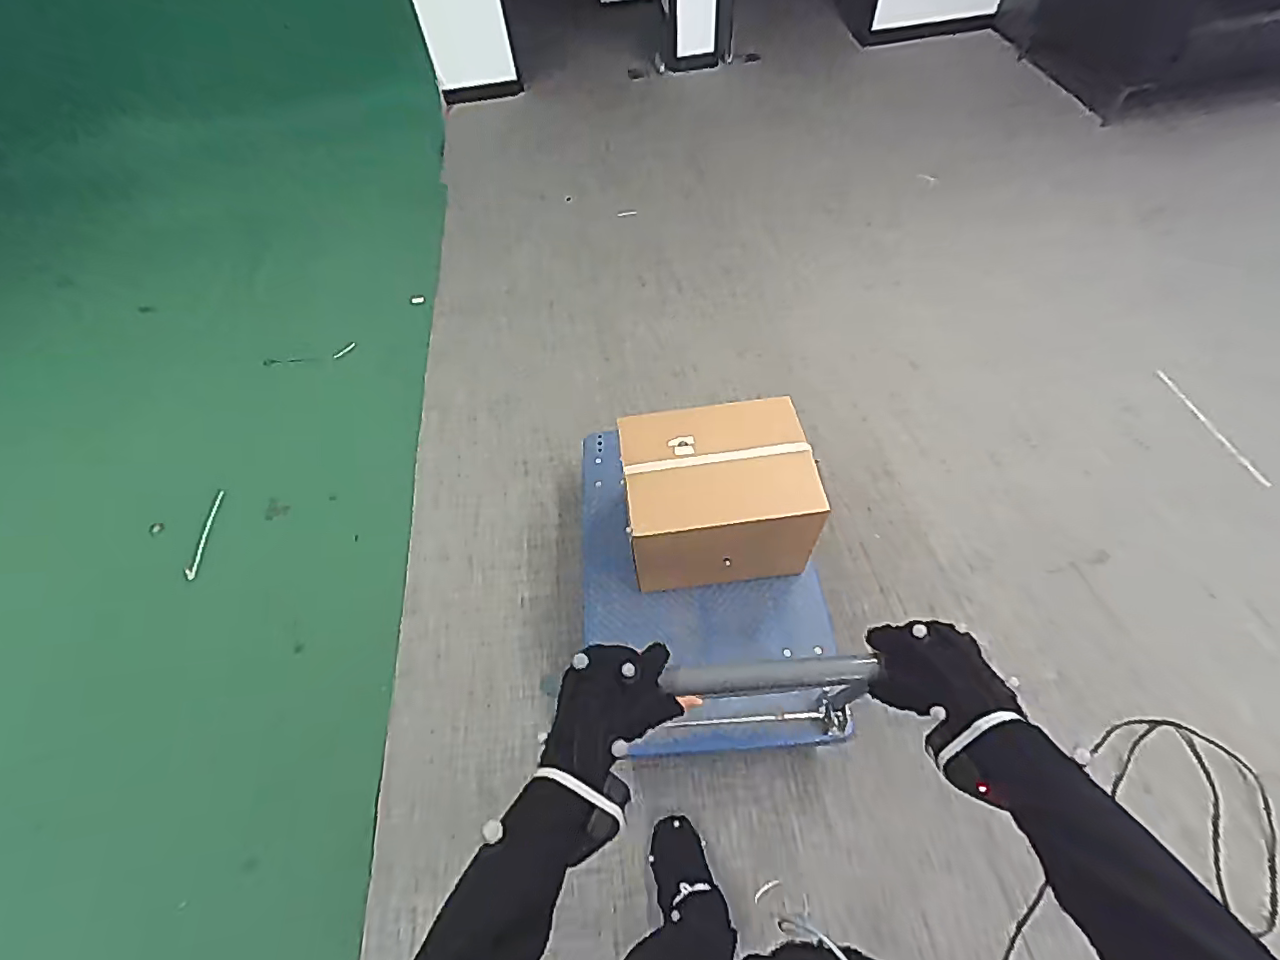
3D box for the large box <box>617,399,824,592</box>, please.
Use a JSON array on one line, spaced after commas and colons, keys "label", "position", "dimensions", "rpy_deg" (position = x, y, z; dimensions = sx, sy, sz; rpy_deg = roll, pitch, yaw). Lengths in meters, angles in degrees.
[{"label": "large box", "position": [0.174, 0.048, 1.302], "dimensions": [0.408, 0.320, 0.320], "rpy_deg": [-9, 56, 0]}]
